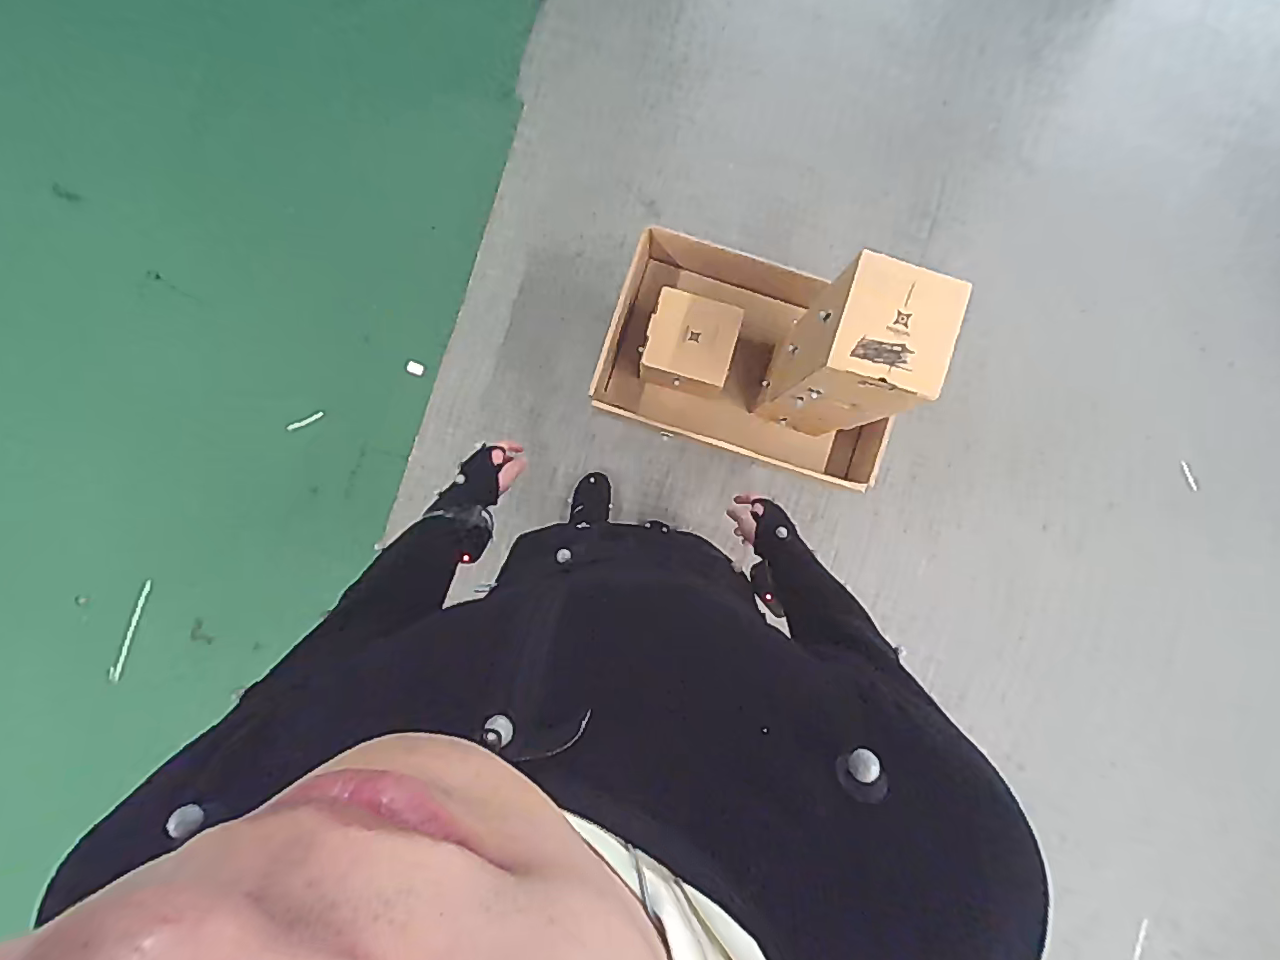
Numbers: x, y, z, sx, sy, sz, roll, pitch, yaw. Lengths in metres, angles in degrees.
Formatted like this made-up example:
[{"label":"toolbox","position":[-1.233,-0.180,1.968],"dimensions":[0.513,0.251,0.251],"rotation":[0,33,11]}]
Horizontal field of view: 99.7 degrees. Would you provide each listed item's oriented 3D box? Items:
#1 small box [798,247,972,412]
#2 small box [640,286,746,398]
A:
[{"label":"small box","position":[0.360,-0.216,0.830],"dimensions":[0.168,0.176,0.179],"rotation":[18,88,0]},{"label":"small box","position":[0.104,-0.285,1.160],"dimensions":[0.179,0.176,0.168],"rotation":[17,89,-1]}]
